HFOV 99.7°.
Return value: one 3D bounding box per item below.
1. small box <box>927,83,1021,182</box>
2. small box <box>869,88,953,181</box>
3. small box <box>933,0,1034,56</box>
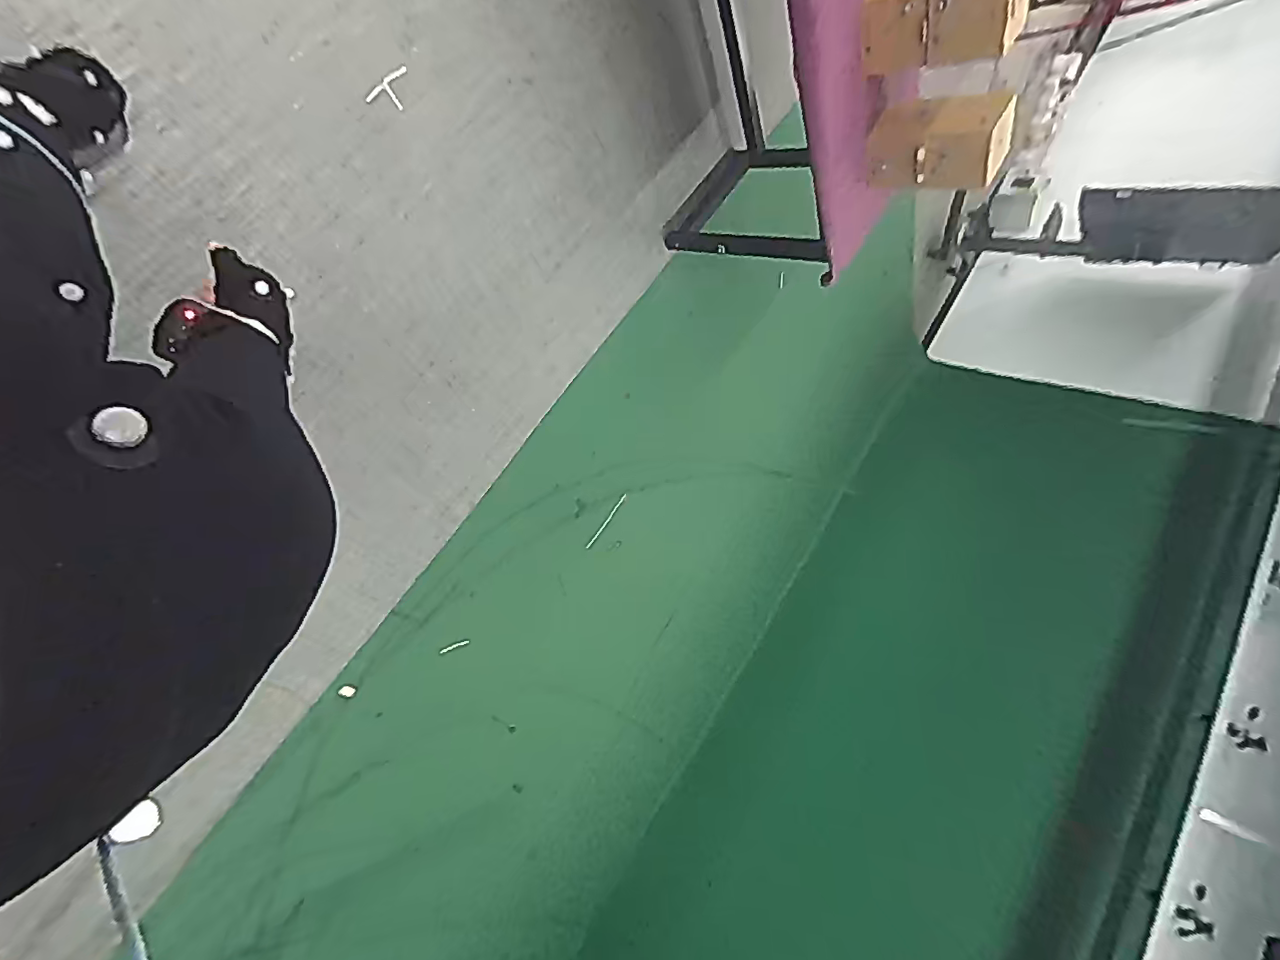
[{"bbox_3d":[0.923,-0.965,1.506,0.179,0.176,0.168,-55,143,-14],"label":"small box"},{"bbox_3d":[0.798,-1.017,1.598,0.179,0.176,0.168,-56,142,-14],"label":"small box"},{"bbox_3d":[0.799,-1.127,1.254,0.179,0.176,0.168,-55,143,-17],"label":"small box"}]
